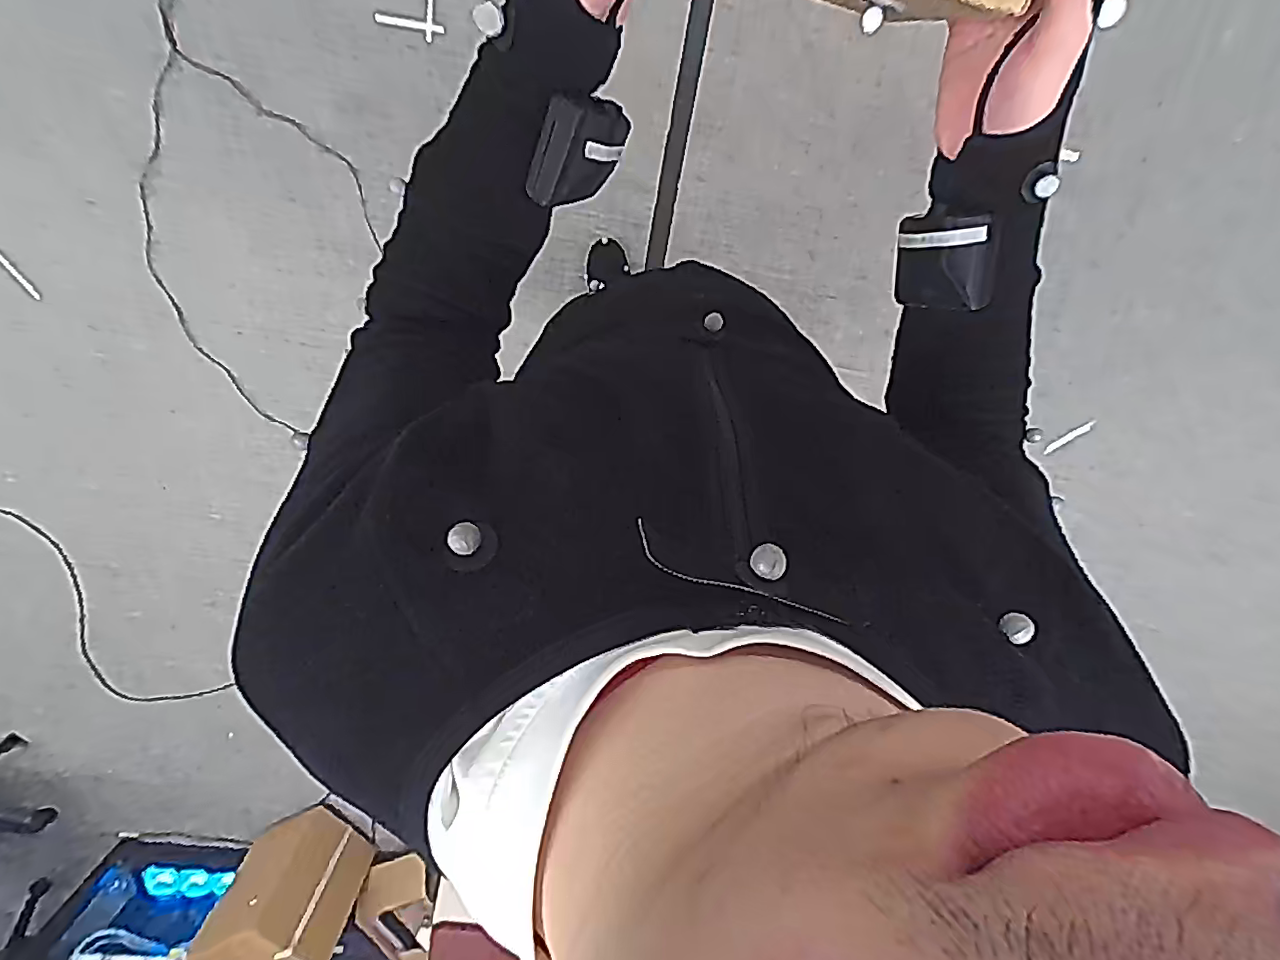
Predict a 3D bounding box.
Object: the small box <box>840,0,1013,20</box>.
[{"bbox_3d":[0.114,-0.352,0.259,0.176,0.179,0.168,11,129,-12],"label":"small box"}]
